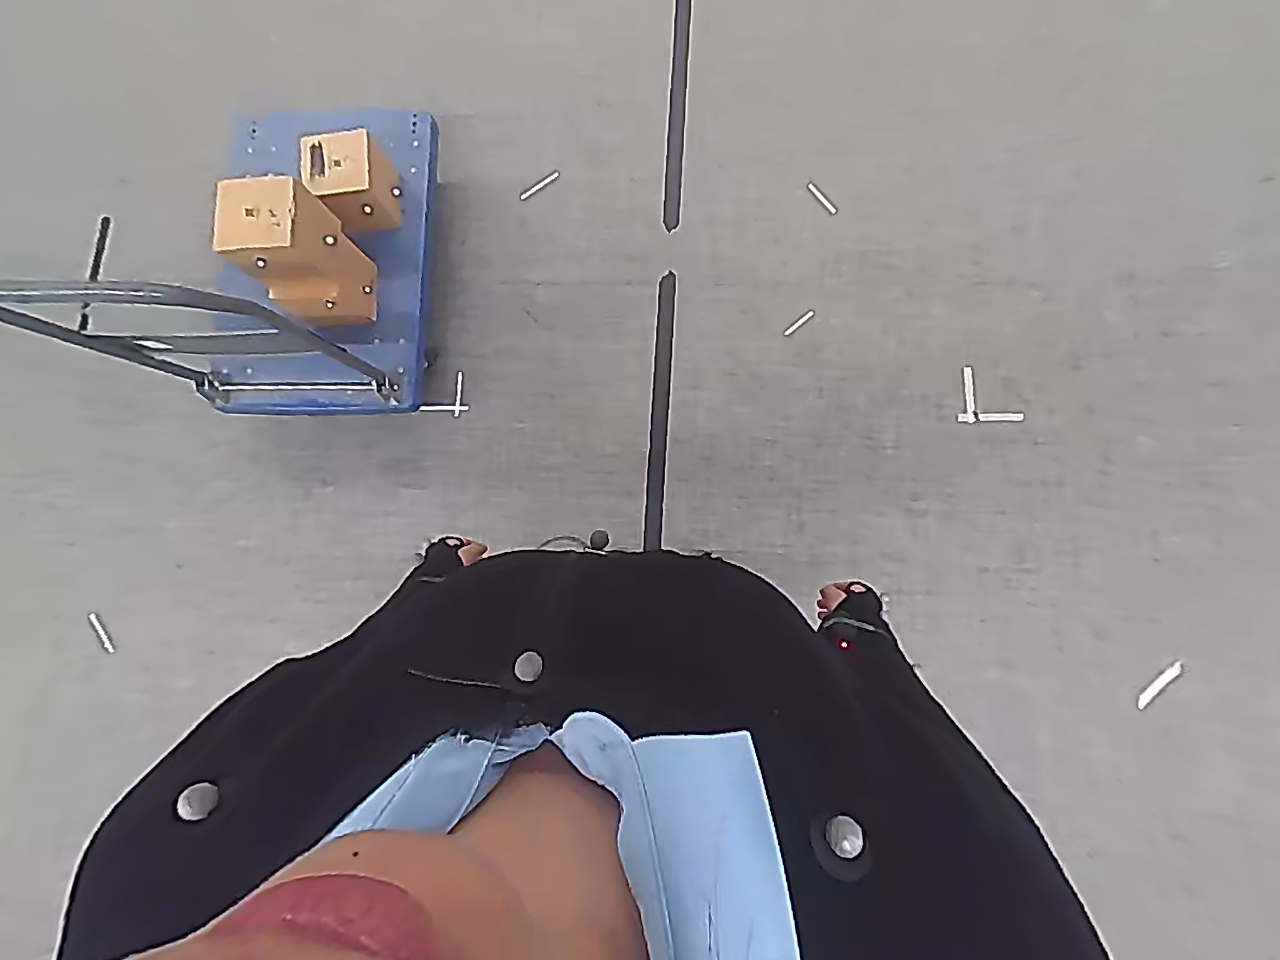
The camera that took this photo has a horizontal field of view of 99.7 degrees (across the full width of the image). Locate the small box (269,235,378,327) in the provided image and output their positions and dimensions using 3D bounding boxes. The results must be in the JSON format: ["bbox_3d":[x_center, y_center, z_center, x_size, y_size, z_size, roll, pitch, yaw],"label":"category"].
[{"bbox_3d":[-0.807,-0.505,1.390,0.179,0.176,0.168,-3,82,3],"label":"small box"}]

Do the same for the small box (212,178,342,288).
[{"bbox_3d":[-0.818,-0.554,1.231,0.179,0.176,0.168,-2,82,3],"label":"small box"}]
